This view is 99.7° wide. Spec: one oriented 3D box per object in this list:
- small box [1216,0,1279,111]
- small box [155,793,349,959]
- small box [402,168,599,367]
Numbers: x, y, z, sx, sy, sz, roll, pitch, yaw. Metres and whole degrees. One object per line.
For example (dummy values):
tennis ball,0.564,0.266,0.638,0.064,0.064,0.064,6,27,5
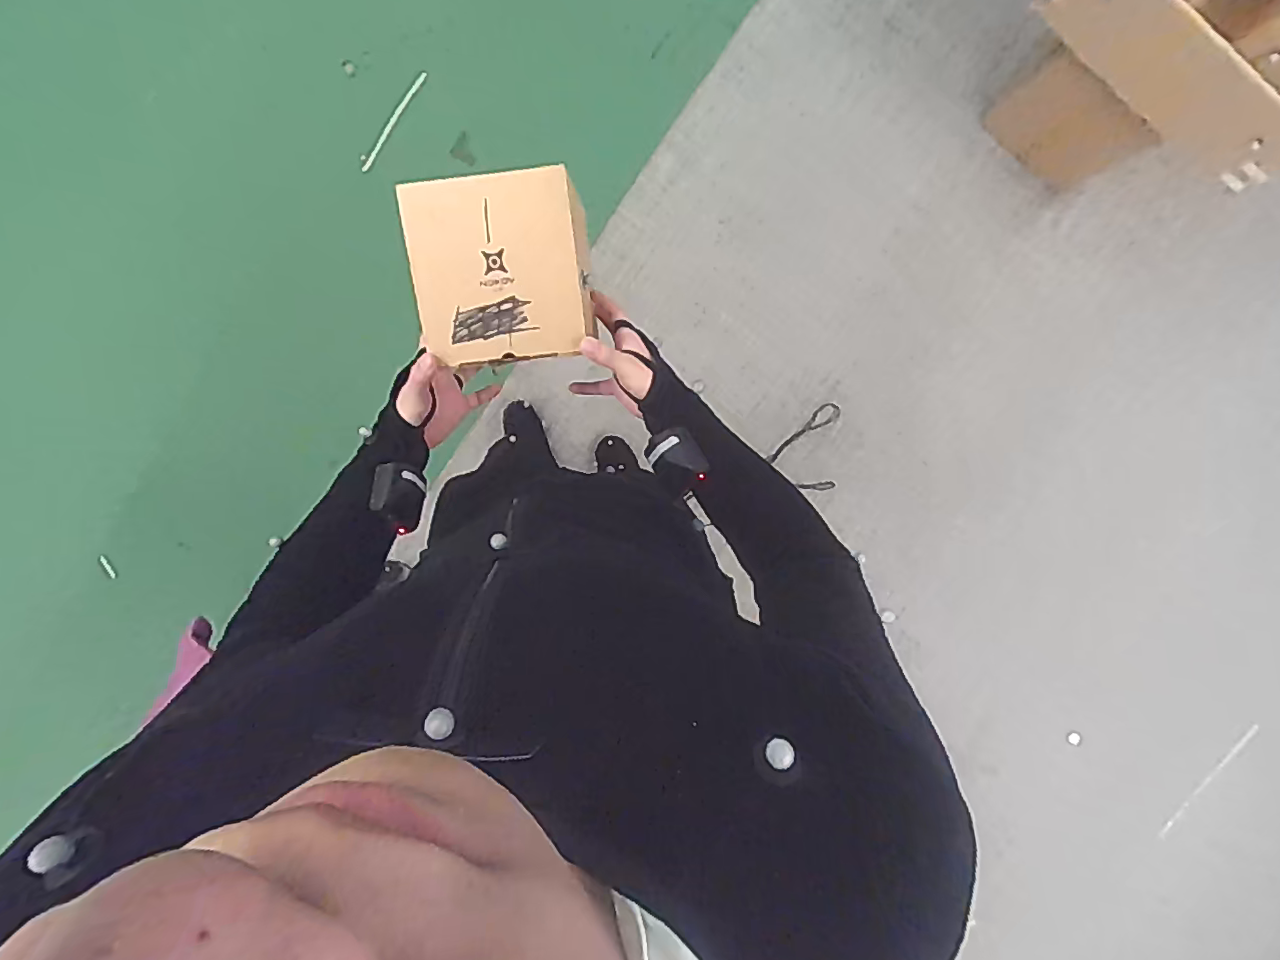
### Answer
small box,1.250,-0.844,1.003,0.168,0.176,0.179,41,96,-3
small box,-0.633,0.681,0.907,0.168,0.176,0.179,36,97,-5
small box,-0.140,-0.225,0.611,0.168,0.176,0.179,-5,103,1
